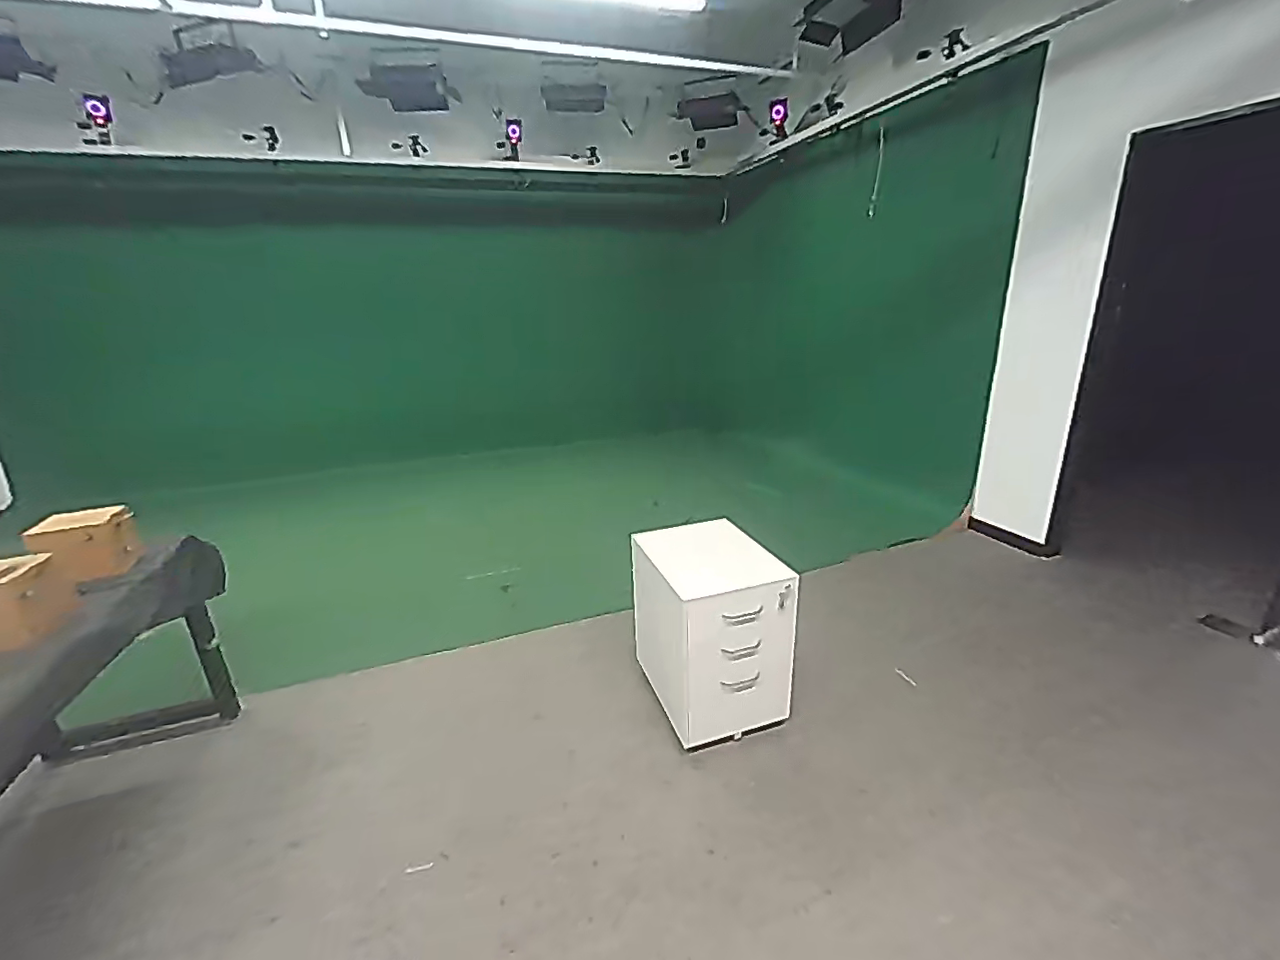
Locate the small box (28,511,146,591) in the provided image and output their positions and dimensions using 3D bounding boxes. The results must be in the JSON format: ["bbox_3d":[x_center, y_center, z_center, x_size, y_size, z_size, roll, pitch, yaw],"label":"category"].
[{"bbox_3d":[-1.623,0.209,1.600,0.179,0.176,0.168,-10,20,-22],"label":"small box"}]
